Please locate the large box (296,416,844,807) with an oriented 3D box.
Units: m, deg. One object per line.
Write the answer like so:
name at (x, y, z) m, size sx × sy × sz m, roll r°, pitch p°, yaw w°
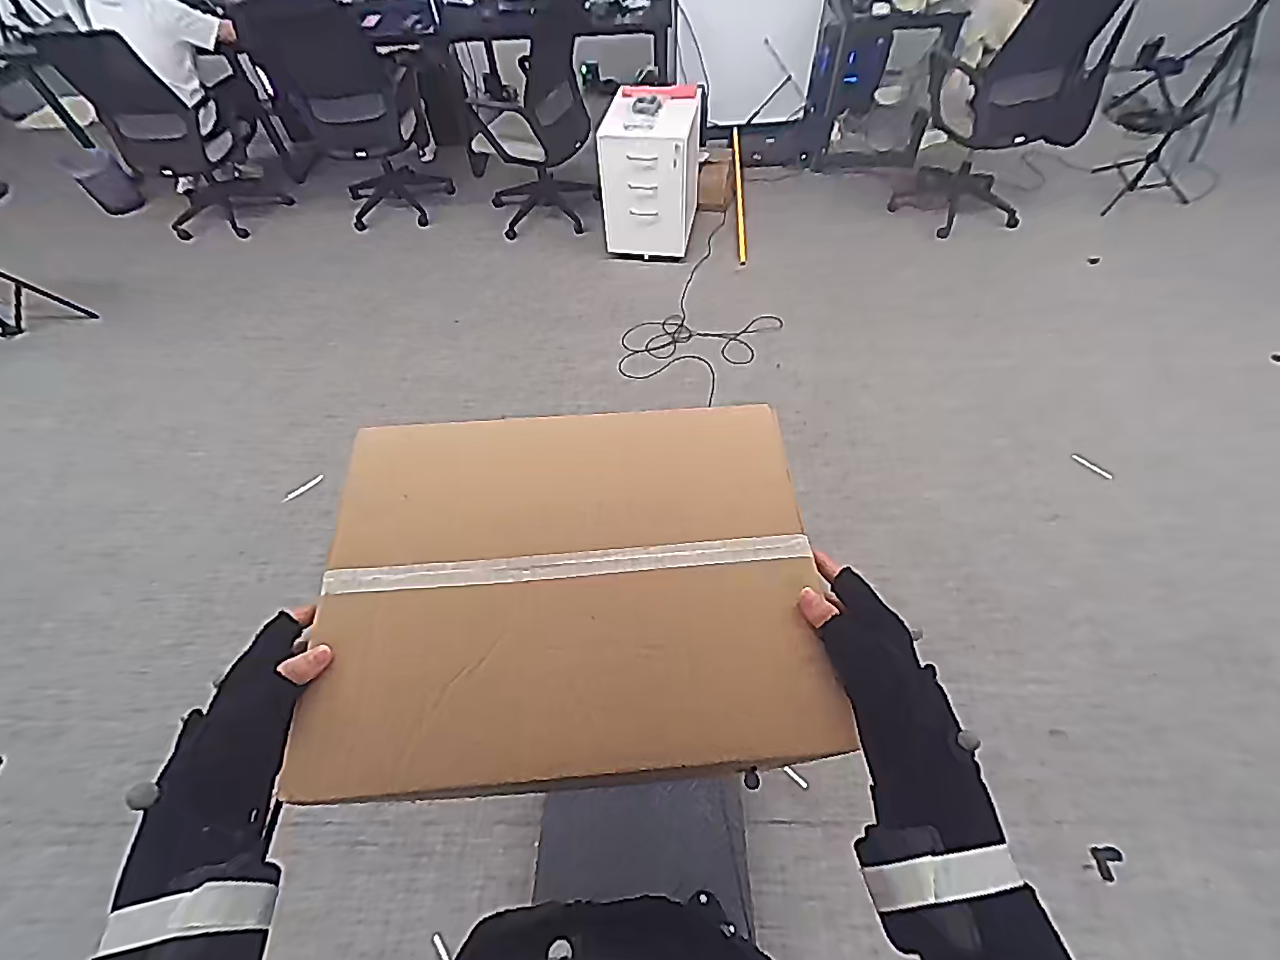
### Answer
large box at (-0.058, 0.154, 0.590) m, size 0.408 × 0.320 × 0.320 m, roll -3°, pitch 59°, yaw -3°
